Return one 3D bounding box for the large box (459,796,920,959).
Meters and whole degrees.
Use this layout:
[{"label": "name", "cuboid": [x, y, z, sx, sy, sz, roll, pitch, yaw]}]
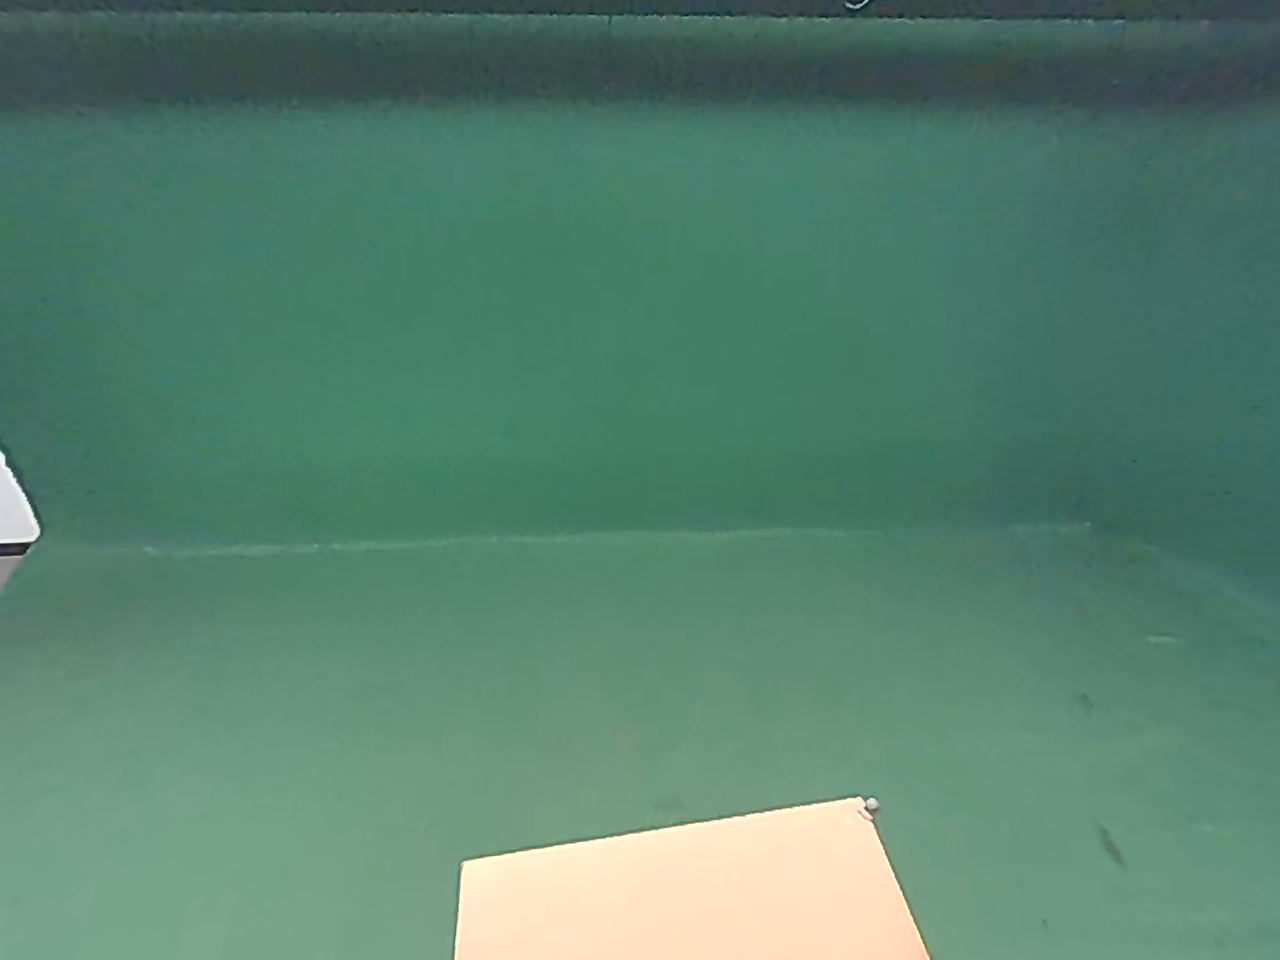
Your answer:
[{"label": "large box", "cuboid": [0.045, 0.562, 0.528, 0.408, 0.320, 0.320, -4, 43, -9]}]
